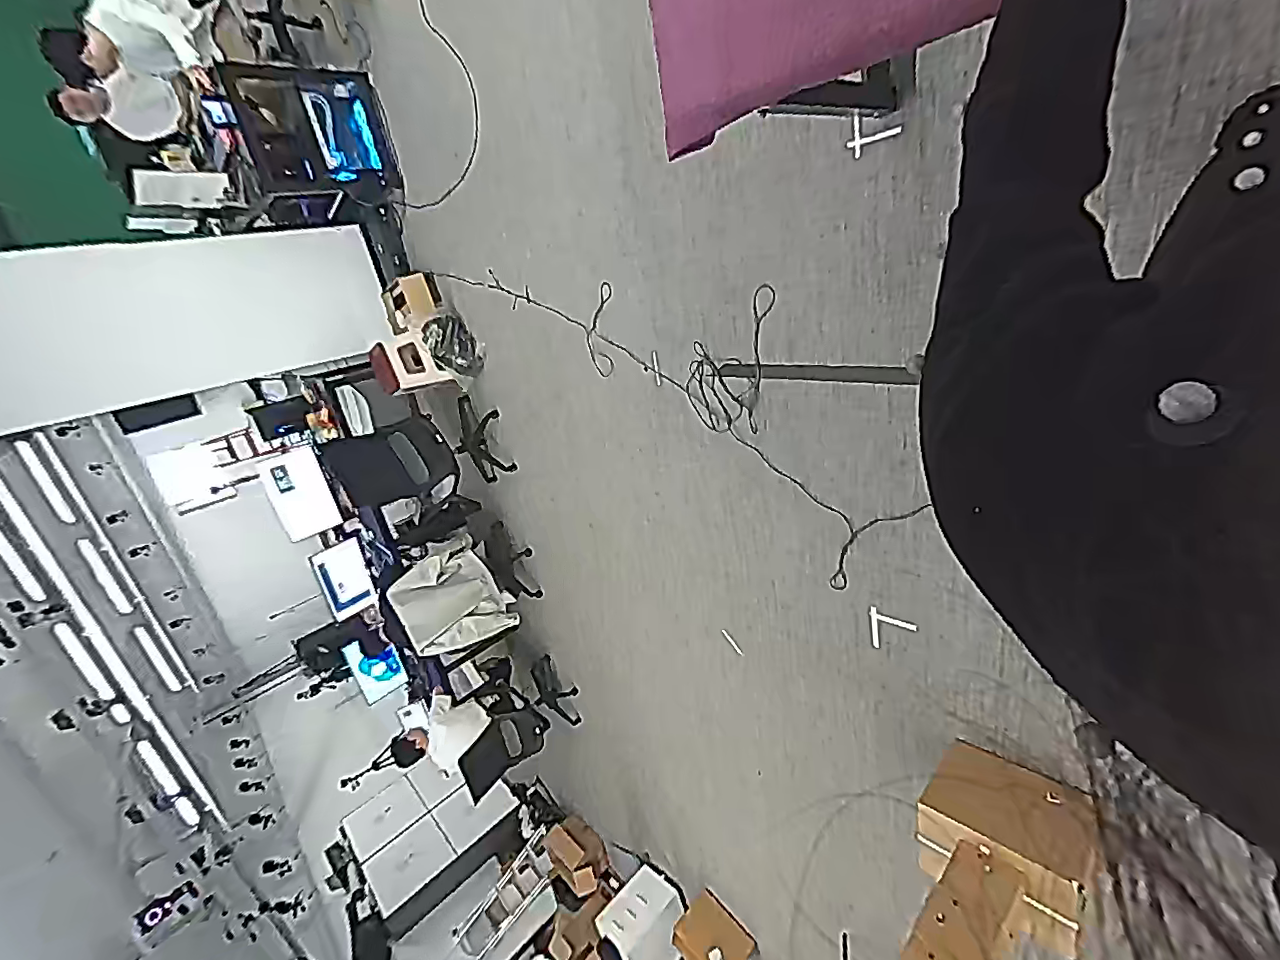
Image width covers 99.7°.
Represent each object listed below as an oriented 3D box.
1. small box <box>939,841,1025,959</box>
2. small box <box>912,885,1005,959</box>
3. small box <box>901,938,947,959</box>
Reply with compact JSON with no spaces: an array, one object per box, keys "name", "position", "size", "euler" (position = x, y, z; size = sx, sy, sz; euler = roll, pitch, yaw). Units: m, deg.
[{"name":"small box","position":[0.962,1.178,1.518],"size":[0.168,0.176,0.179],"euler":[9,118,47]},{"name":"small box","position":[0.841,1.233,1.425],"size":[0.168,0.176,0.179],"euler":[8,119,49]},{"name":"small box","position":[0.726,1.298,1.326],"size":[0.168,0.176,0.179],"euler":[3,114,51]}]
